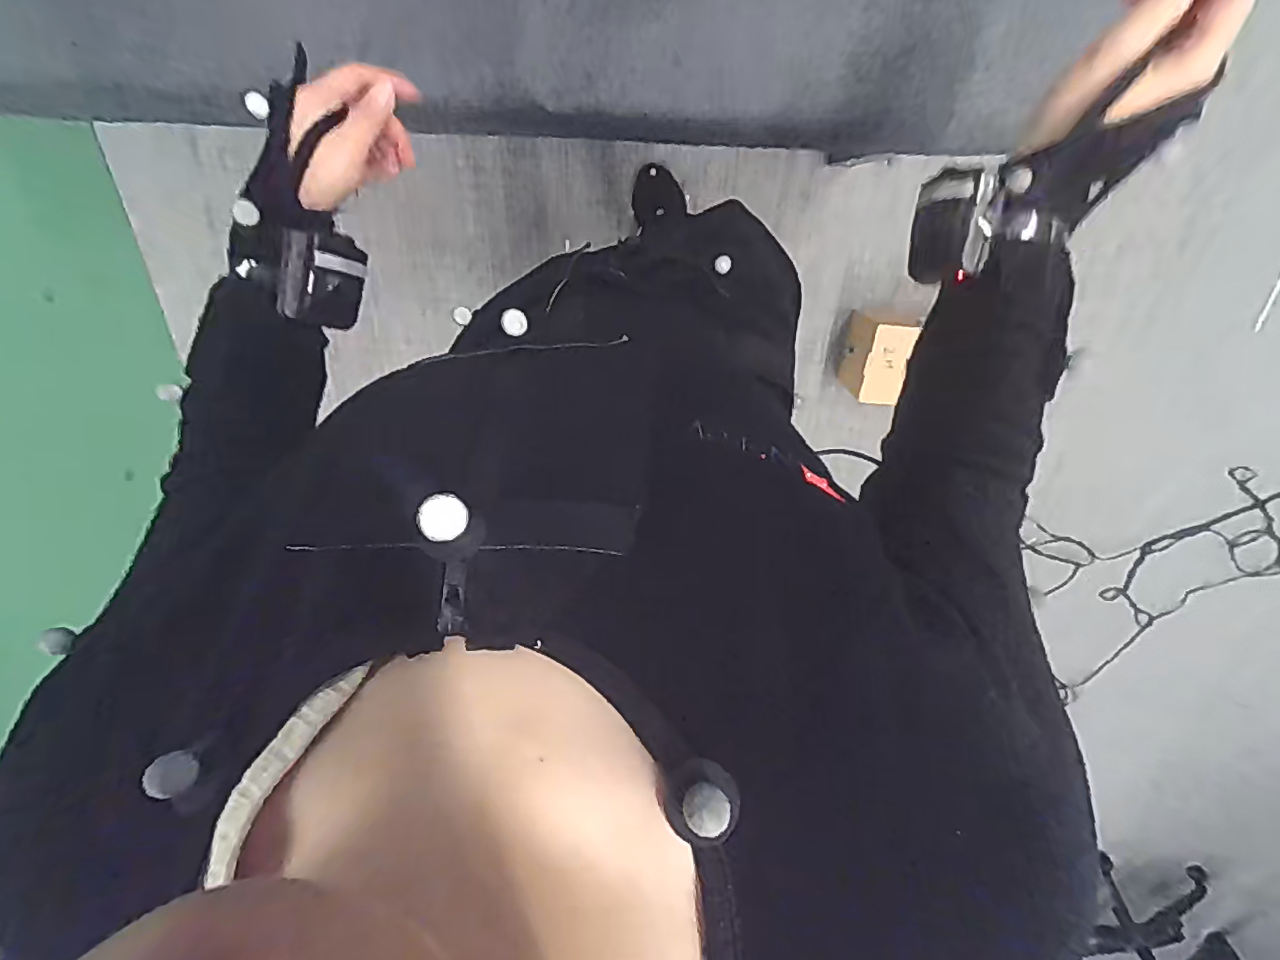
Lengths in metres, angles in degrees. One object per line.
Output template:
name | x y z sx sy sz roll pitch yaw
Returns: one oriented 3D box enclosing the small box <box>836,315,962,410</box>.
small box | 0.555 -0.262 1.184 0.179 0.176 0.168 4 116 0
